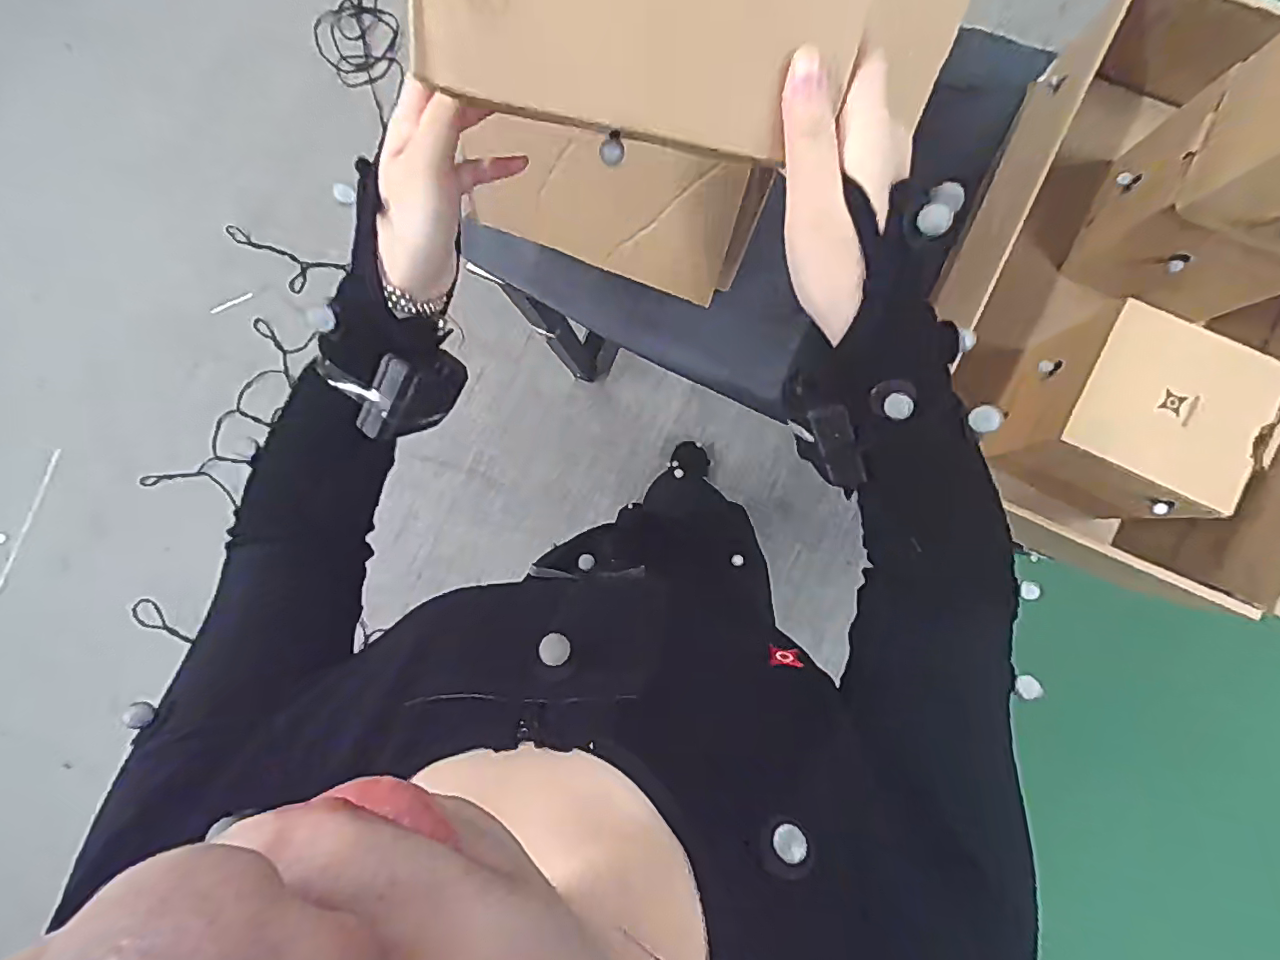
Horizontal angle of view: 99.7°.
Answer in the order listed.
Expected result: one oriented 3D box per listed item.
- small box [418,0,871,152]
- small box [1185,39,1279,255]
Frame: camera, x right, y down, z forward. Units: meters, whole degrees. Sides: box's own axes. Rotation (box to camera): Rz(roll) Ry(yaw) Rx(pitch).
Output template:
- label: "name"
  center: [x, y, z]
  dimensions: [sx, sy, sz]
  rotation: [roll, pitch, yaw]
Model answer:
- label: "small box"
  center: [0.008, -0.264, 0.256]
  dimensions: [0.179, 0.176, 0.168]
  rotation: [7, 121, -8]
- label: "small box"
  center: [0.639, -0.315, 0.456]
  dimensions: [0.168, 0.176, 0.179]
  rotation: [26, 91, 5]
